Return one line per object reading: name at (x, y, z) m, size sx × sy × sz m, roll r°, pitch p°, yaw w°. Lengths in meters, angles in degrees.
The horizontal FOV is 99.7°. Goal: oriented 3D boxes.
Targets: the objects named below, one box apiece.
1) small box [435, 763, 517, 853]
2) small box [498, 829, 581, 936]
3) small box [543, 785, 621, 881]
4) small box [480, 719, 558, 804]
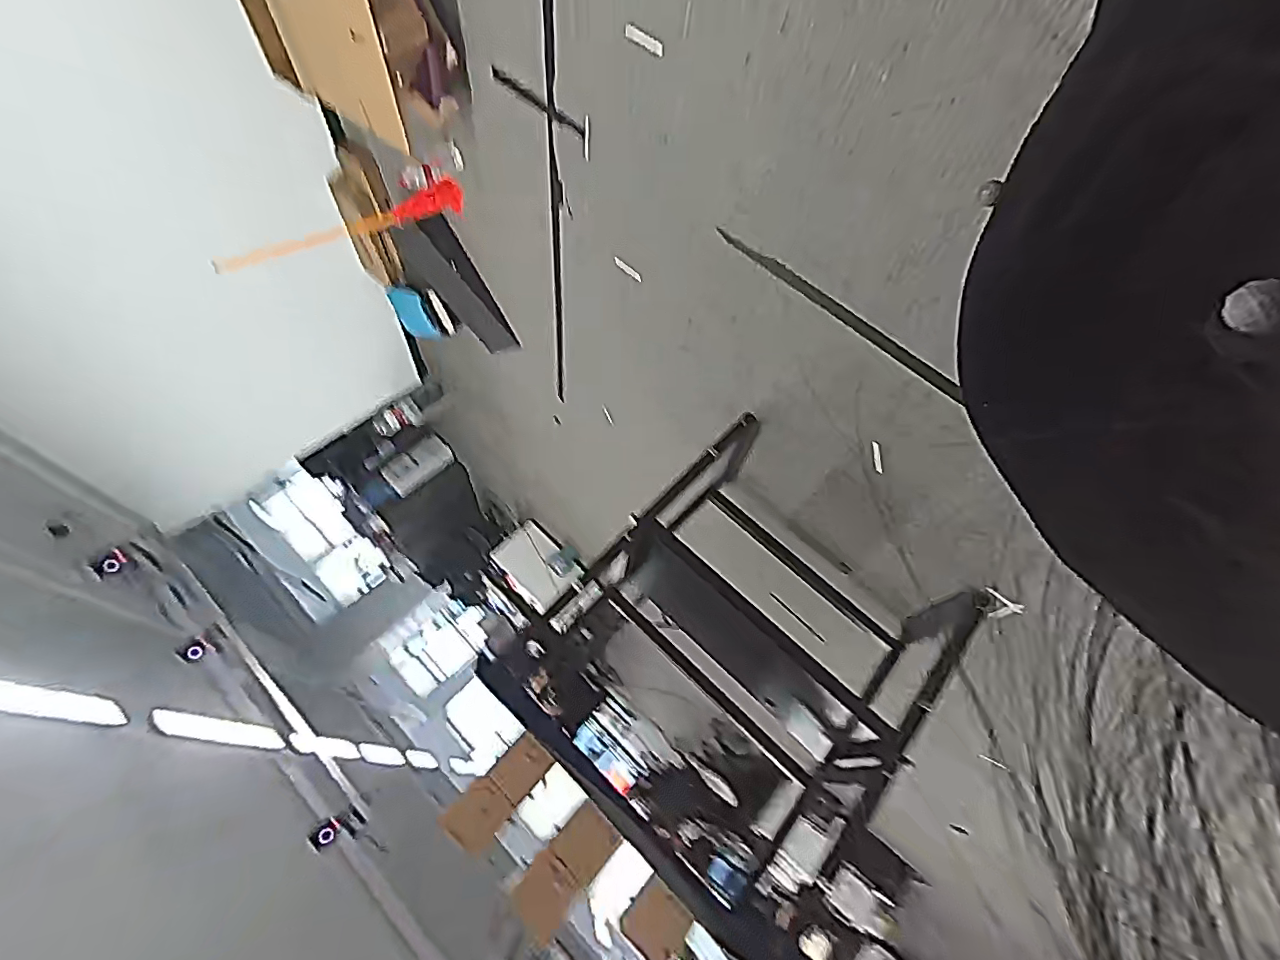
small box at (-0.484, 0.976, 1.629) m, size 0.168 × 0.176 × 0.179 m, roll 42°, pitch 155°, yaw 12°
small box at (-0.283, 1.152, 1.564) m, size 0.168 × 0.176 × 0.179 m, roll 41°, pitch 155°, yaw 13°
small box at (-0.172, 1.051, 1.627) m, size 0.168 × 0.176 × 0.179 m, roll 42°, pitch 157°, yaw 14°
small box at (-0.372, 0.876, 1.694) m, size 0.168 × 0.176 × 0.179 m, roll 41°, pitch 155°, yaw 13°
